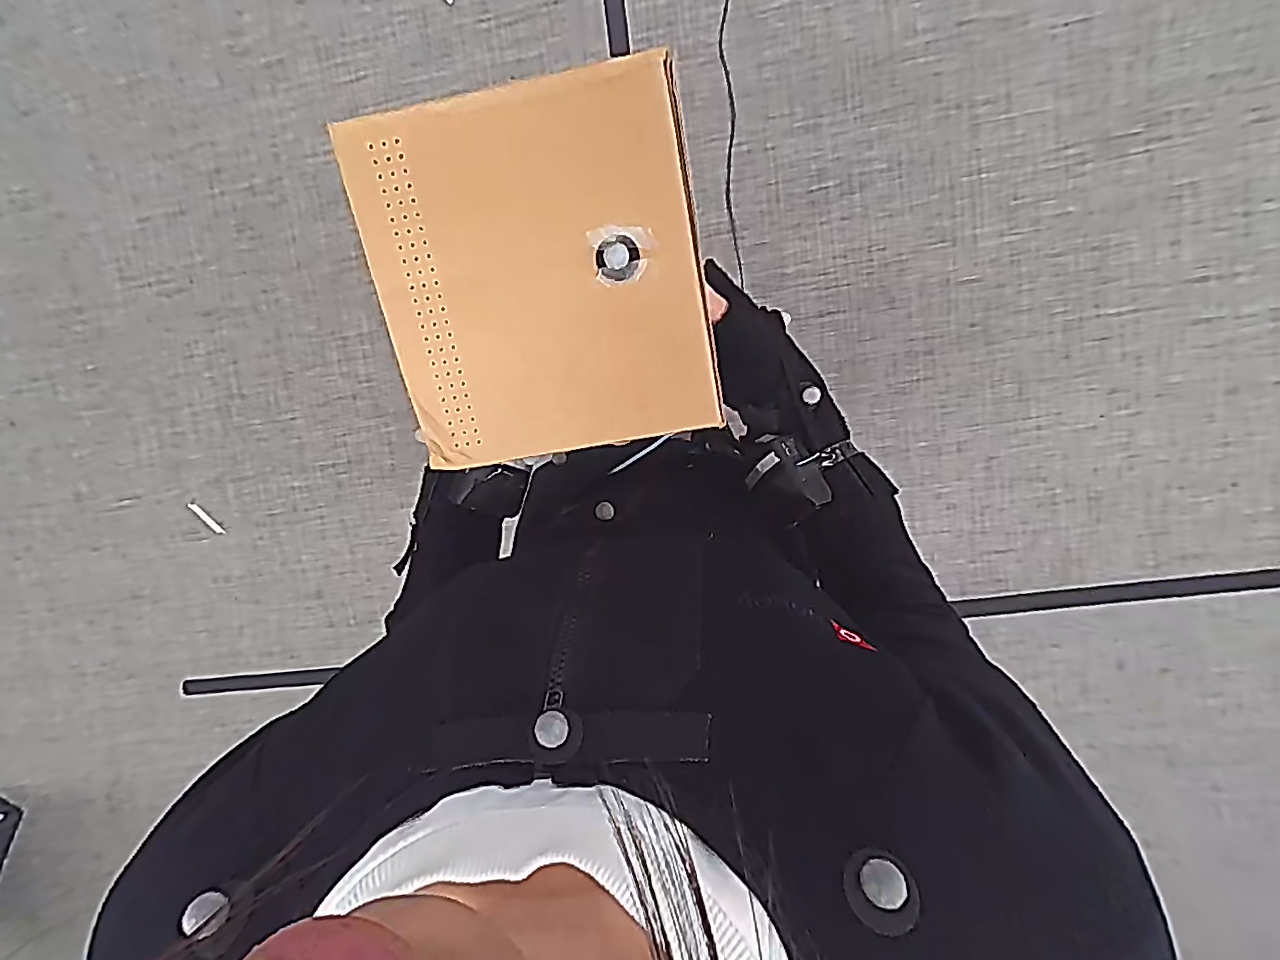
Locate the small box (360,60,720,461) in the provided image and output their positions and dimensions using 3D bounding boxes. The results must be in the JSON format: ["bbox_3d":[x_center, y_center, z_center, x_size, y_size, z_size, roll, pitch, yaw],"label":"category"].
[{"bbox_3d":[-0.050,-0.125,0.359,0.176,0.168,0.179,-9,106,5],"label":"small box"}]
